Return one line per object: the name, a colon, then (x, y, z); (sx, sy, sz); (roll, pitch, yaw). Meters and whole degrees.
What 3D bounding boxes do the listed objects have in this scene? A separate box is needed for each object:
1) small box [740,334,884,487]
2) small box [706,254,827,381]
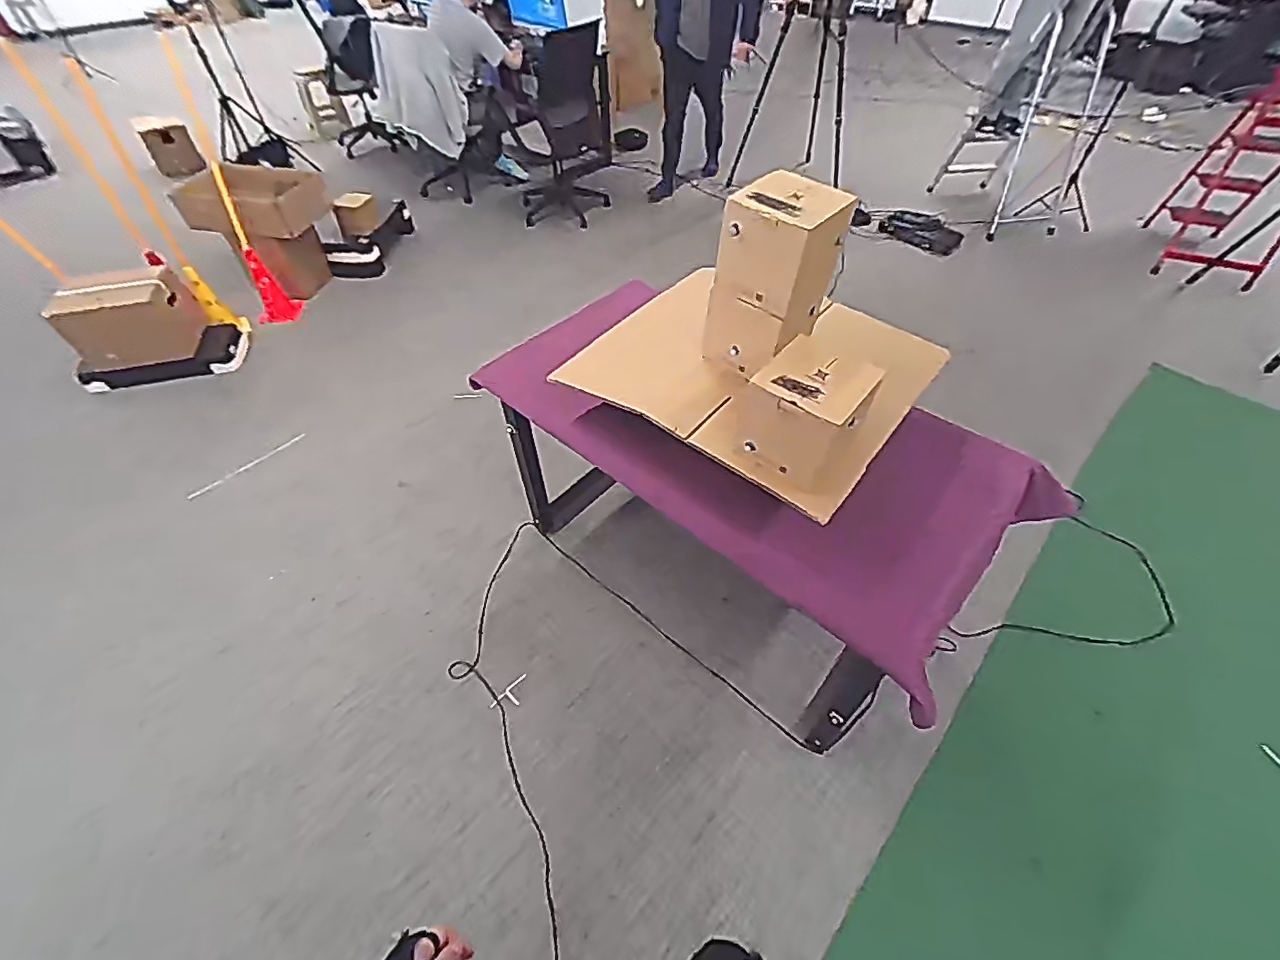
small box: (0.292, -0.120, 0.953); (0.168, 0.176, 0.179); (34, 57, 23)
small box: (0.252, -0.332, 1.121); (0.168, 0.176, 0.179); (35, 59, 23)
